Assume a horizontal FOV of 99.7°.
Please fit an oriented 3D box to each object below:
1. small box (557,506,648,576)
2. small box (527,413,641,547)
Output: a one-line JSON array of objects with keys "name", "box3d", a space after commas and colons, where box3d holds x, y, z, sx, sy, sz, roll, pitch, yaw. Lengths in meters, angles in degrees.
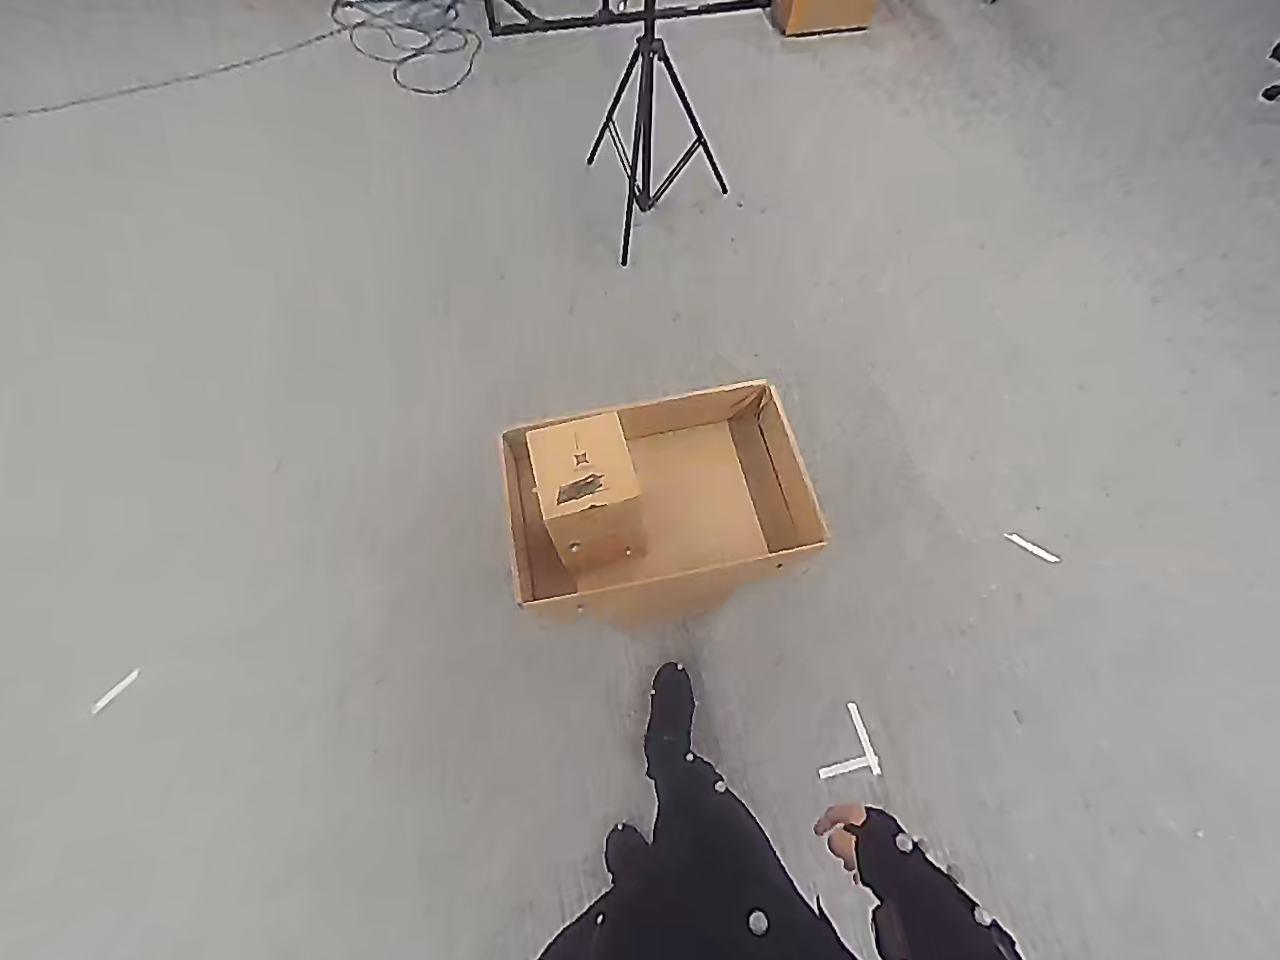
[{"name": "small box", "box3d": [-0.090, 0.083, 1.124, 0.179, 0.176, 0.168, -15, 65, -6]}, {"name": "small box", "box3d": [-0.095, 0.010, 0.978, 0.168, 0.176, 0.179, -14, 64, -6]}]
